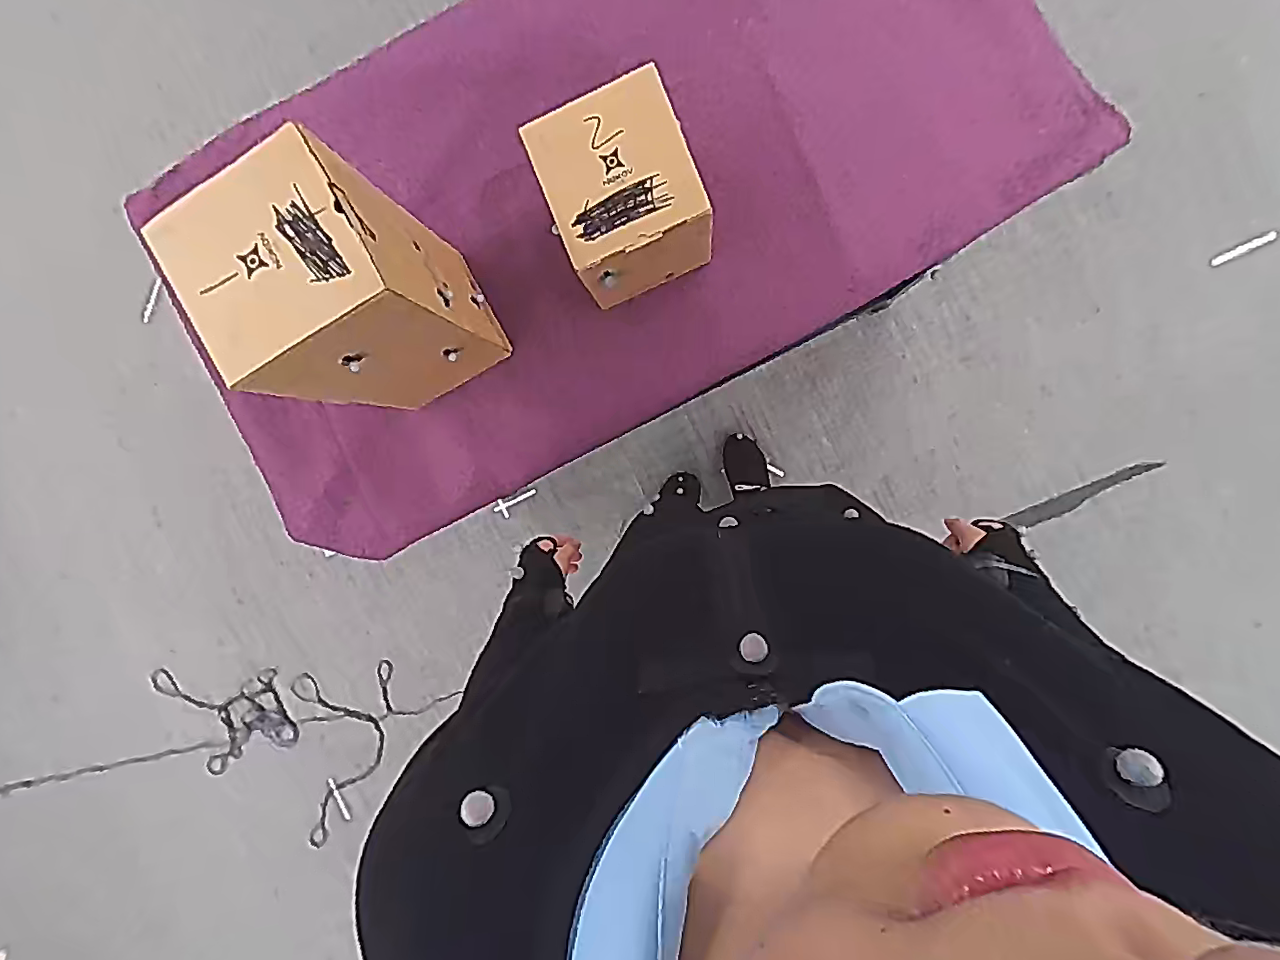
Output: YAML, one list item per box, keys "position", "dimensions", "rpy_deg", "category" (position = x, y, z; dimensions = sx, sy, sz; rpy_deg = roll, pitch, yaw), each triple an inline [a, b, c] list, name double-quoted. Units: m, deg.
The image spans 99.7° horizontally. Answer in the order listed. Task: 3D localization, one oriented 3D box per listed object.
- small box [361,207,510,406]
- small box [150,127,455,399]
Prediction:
- position: [-0.303, -0.210, 0.714]
  dimensions: [0.179, 0.176, 0.168]
  rpy_deg: [-29, 90, 6]
  category: "small box"
- position: [-0.316, -0.198, 0.550]
  dimensions: [0.179, 0.176, 0.168]
  rpy_deg: [-29, 90, 7]
  category: "small box"
